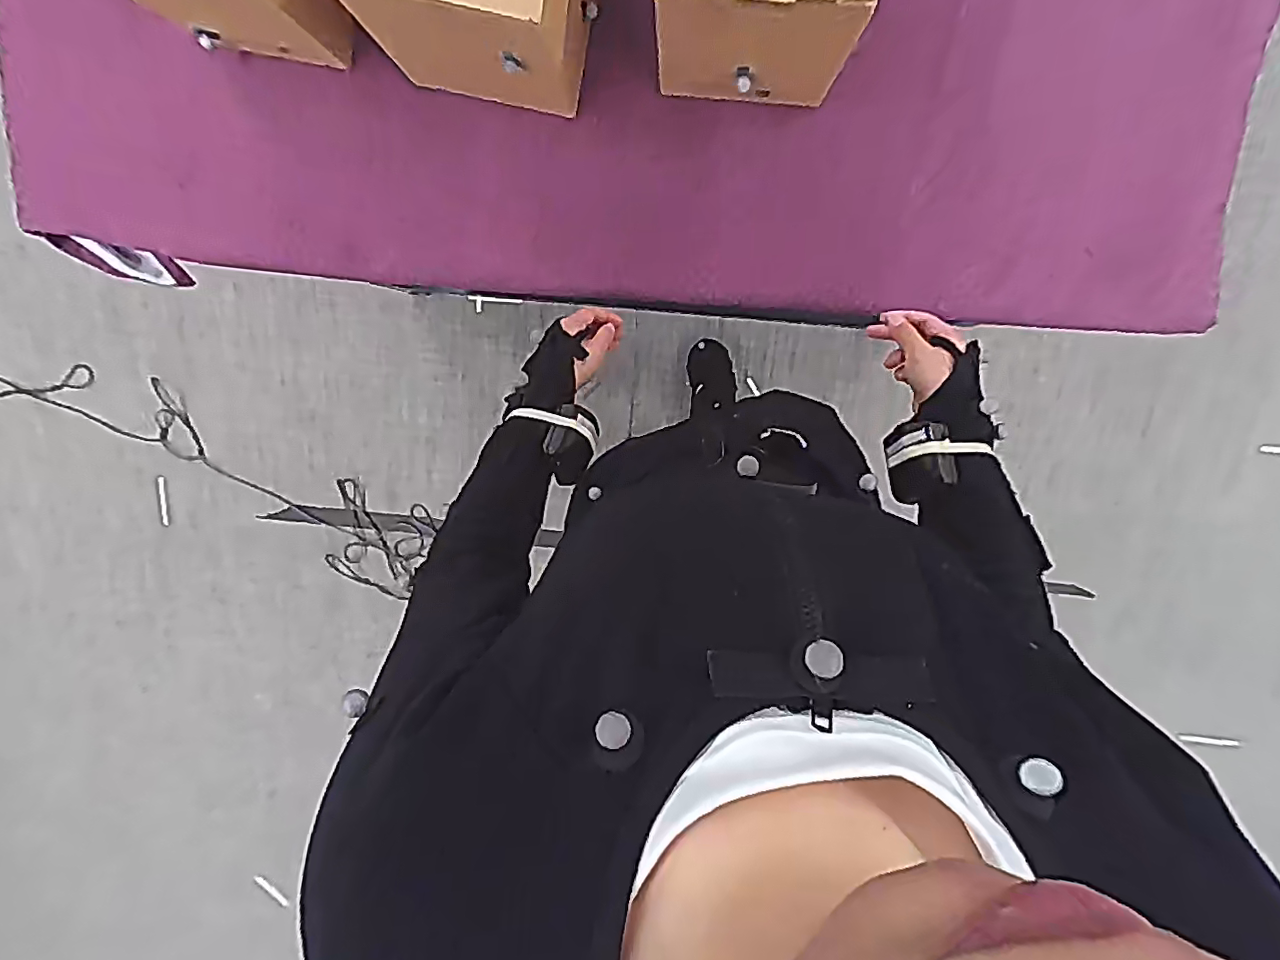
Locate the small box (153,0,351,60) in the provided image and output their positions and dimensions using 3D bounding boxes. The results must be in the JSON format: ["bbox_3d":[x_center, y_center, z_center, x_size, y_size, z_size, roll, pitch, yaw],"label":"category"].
[{"bbox_3d":[-0.372,-0.511,0.469,0.168,0.176,0.179,10,103,0],"label":"small box"}]

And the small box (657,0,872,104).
[{"bbox_3d":[0.104,-0.460,0.457,0.168,0.176,0.179,6,103,2],"label":"small box"}]
